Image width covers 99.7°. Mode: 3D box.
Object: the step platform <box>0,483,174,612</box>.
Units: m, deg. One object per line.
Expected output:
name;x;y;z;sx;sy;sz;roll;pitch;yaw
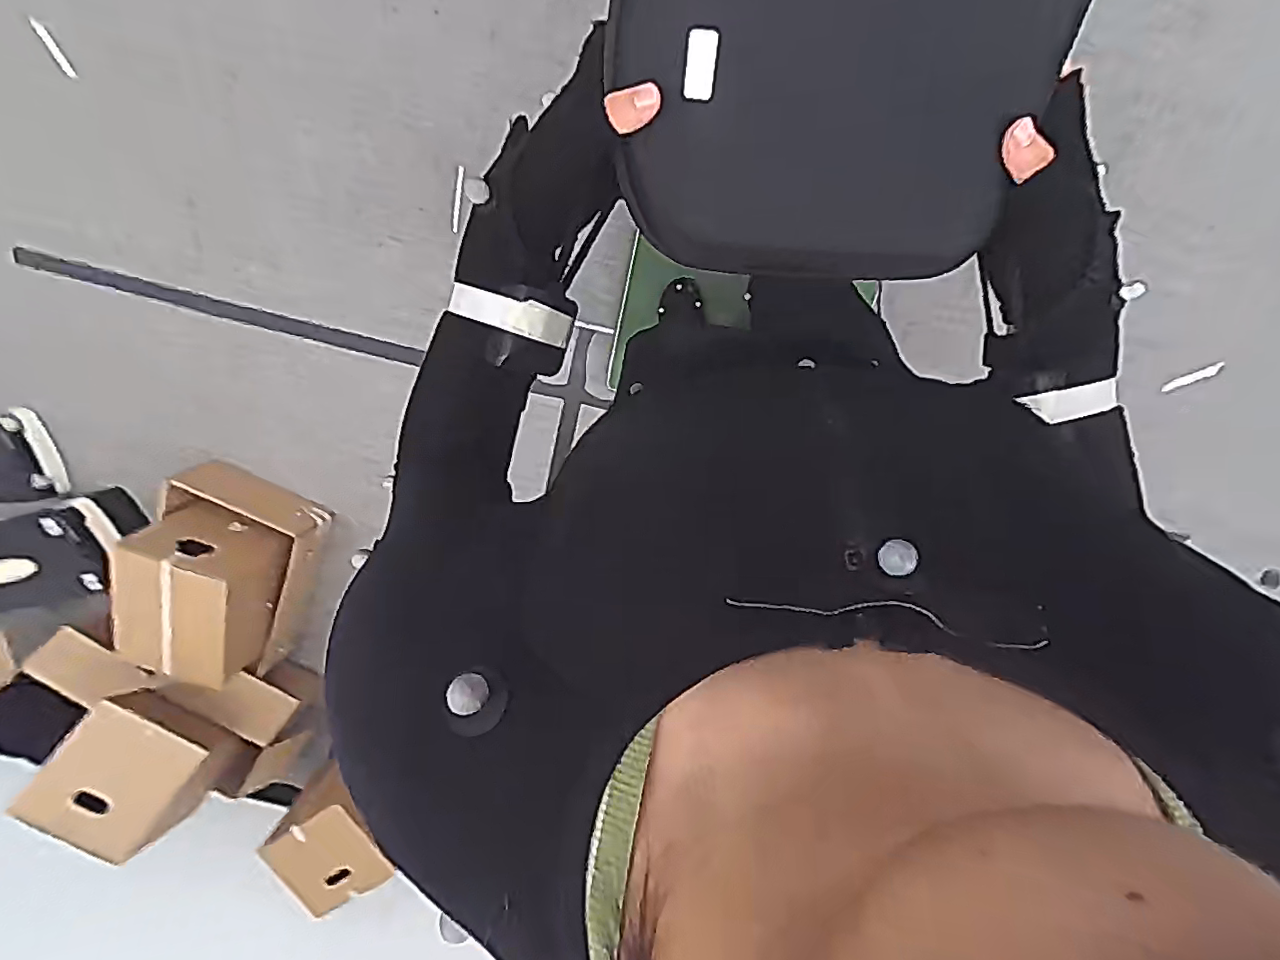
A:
step platform;-1.936;0.234;1.768;0.684;0.204;0.286;-13;110;10
